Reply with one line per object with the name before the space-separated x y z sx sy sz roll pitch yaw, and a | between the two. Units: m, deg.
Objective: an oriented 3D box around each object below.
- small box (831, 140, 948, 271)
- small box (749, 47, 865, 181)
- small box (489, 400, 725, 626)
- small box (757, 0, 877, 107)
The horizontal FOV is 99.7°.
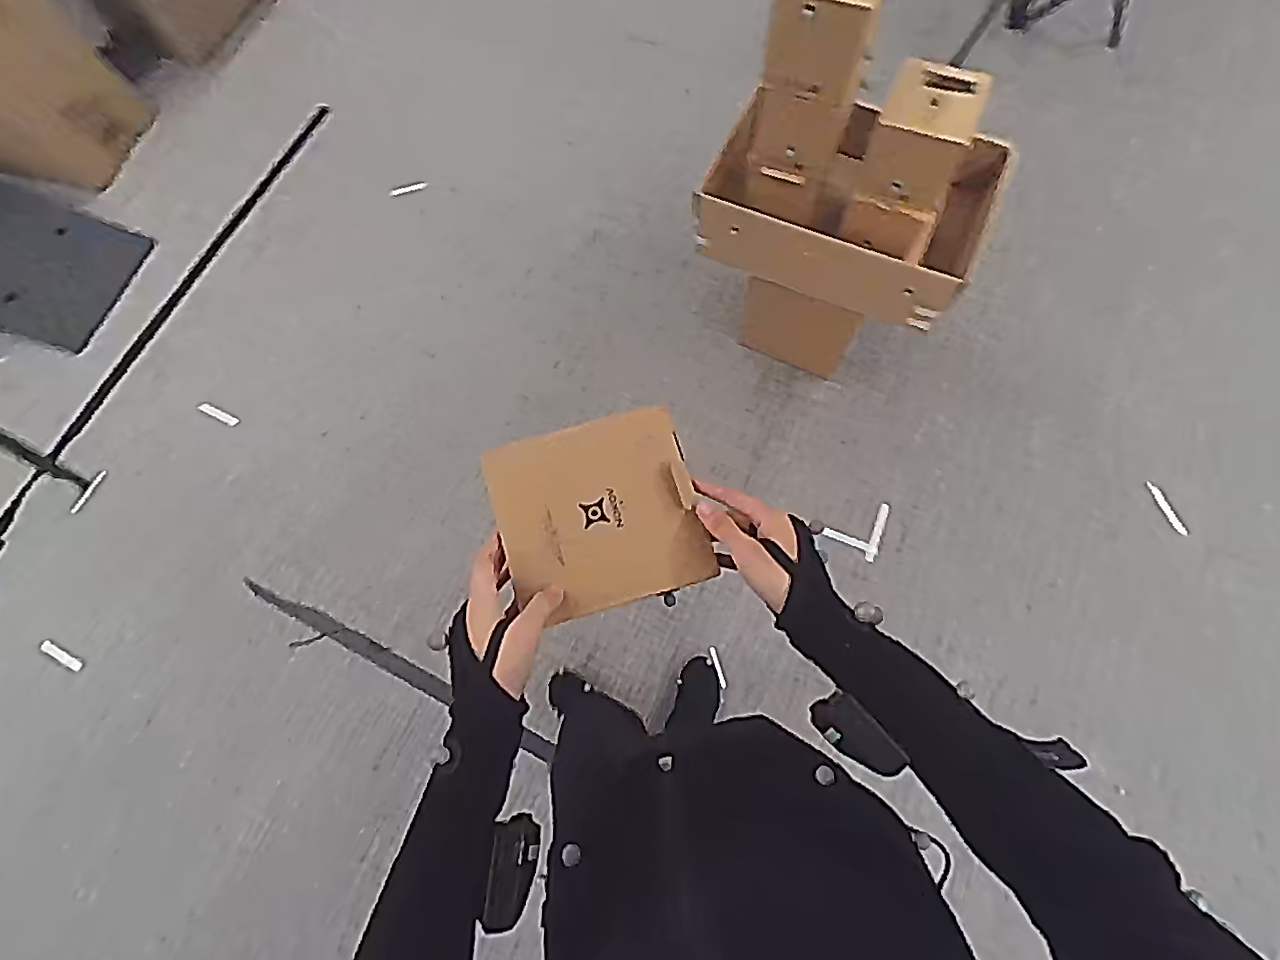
small box | 0.557 -0.618 1.229 0.168 0.176 0.179 26 77 13
small box | 0.335 -0.767 1.117 0.168 0.176 0.179 21 76 10
small box | -0.034 0.041 0.545 0.179 0.176 0.168 -15 77 -5
small box | 0.318 -0.818 0.961 0.168 0.176 0.179 21 75 10
